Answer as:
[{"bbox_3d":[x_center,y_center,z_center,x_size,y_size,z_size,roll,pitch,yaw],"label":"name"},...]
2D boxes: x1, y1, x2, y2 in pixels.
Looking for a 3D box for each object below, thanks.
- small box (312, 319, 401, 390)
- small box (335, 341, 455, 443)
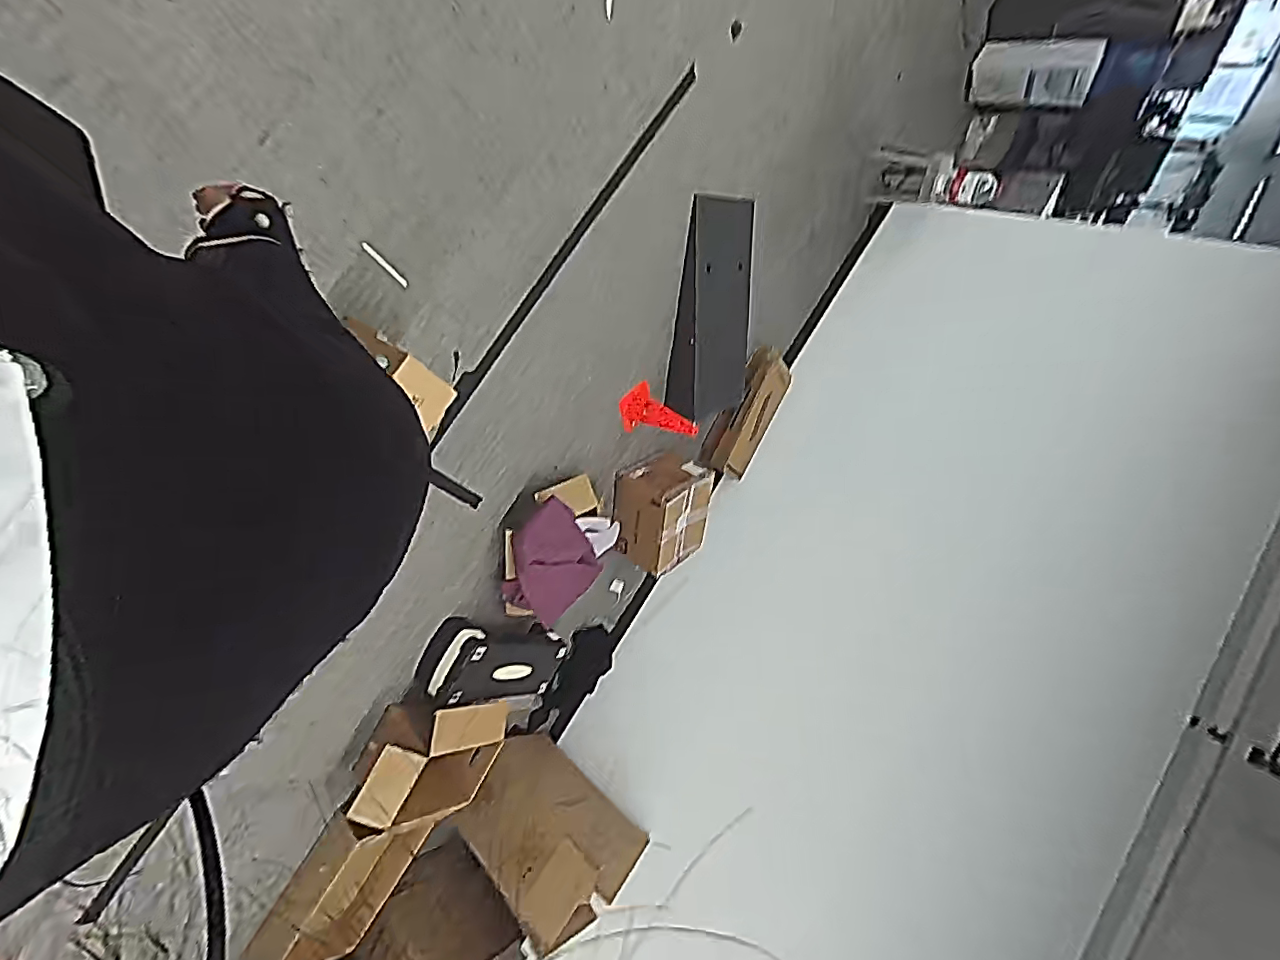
[{"bbox_3d":[-0.732,-0.297,1.436,0.179,0.176,0.168,-57,148,-9],"label":"small box"},{"bbox_3d":[-0.612,-0.224,1.354,0.168,0.176,0.179,-58,147,-9],"label":"small box"}]
